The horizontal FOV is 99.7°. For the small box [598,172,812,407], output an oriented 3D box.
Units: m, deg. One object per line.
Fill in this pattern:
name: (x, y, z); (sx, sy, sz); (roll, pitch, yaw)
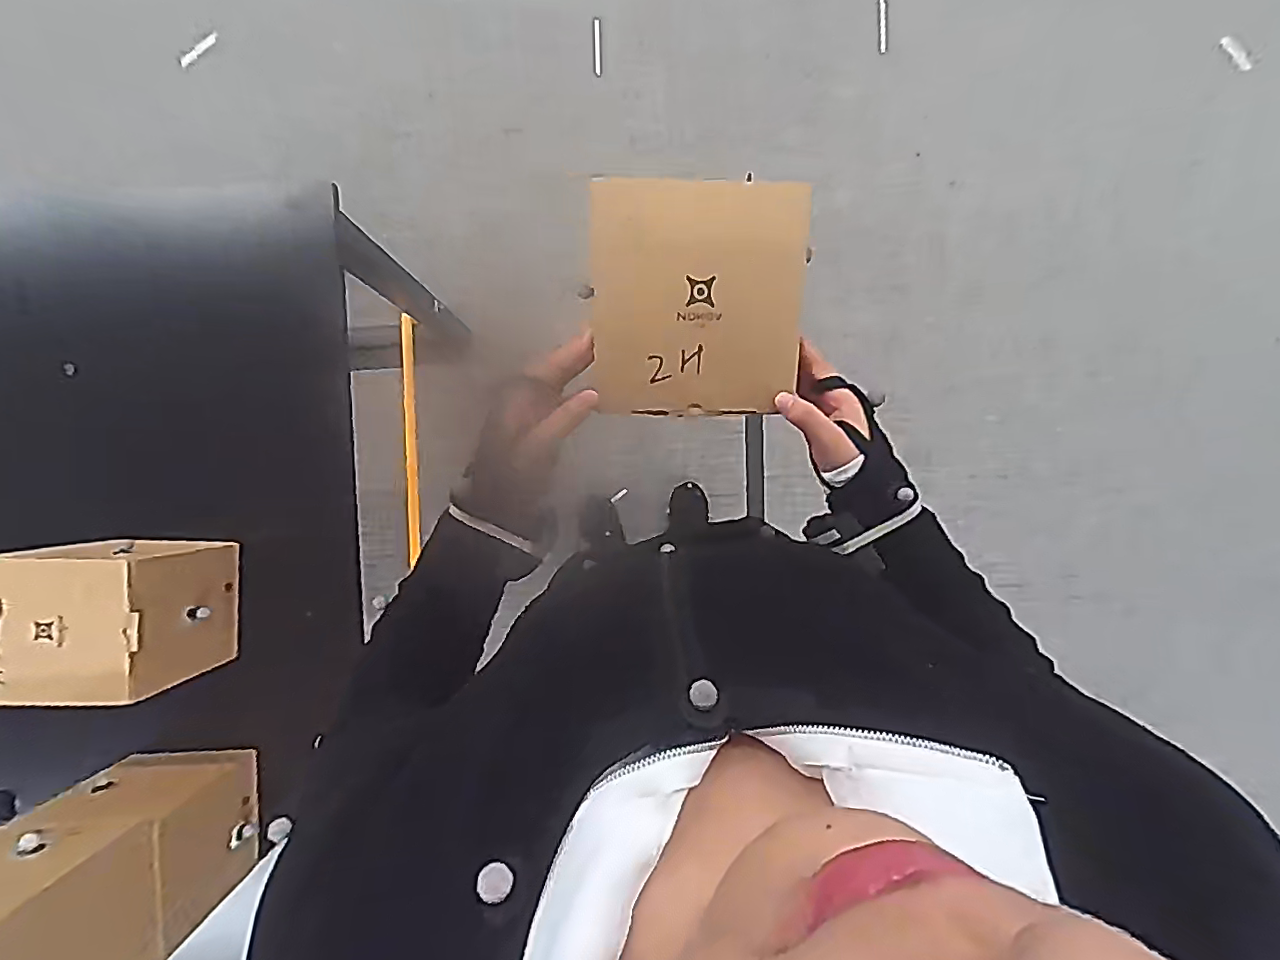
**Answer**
small box: (0.046, -0.162, 0.500); (0.168, 0.176, 0.179); (0, 104, -1)

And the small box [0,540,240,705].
small box: (-0.647, 0.168, 0.684); (0.179, 0.176, 0.168); (1, 90, -1)

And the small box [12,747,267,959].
small box: (-0.617, 0.463, 0.686); (0.179, 0.176, 0.168); (-3, 91, -2)

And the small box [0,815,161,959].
small box: (-0.614, 0.463, 0.522); (0.168, 0.176, 0.179); (-4, 90, -1)
